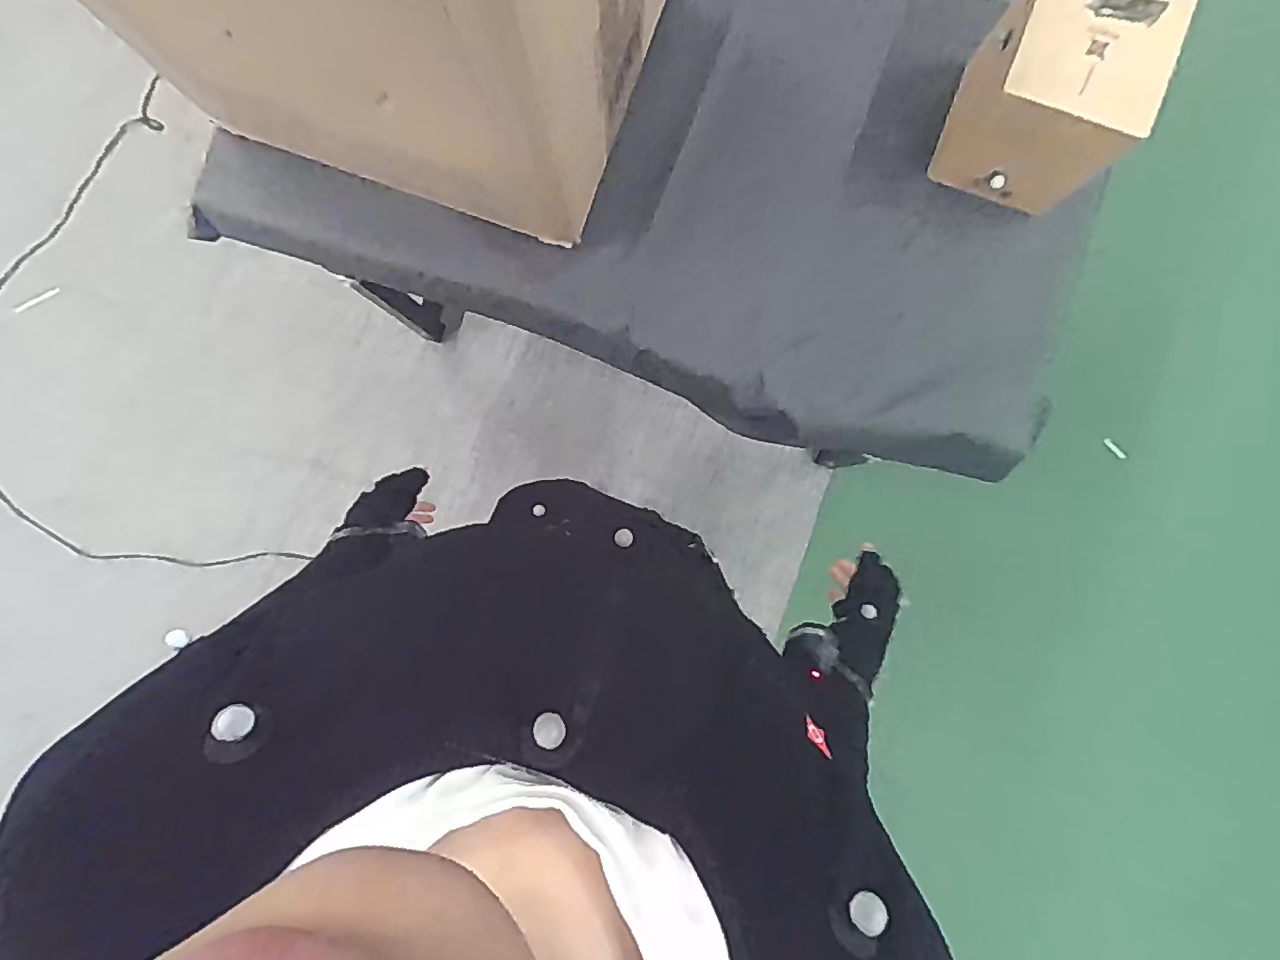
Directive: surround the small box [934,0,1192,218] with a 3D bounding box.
[{"bbox_3d":[0.506,-0.472,0.677,0.168,0.176,0.179,21,89,2],"label":"small box"}]
